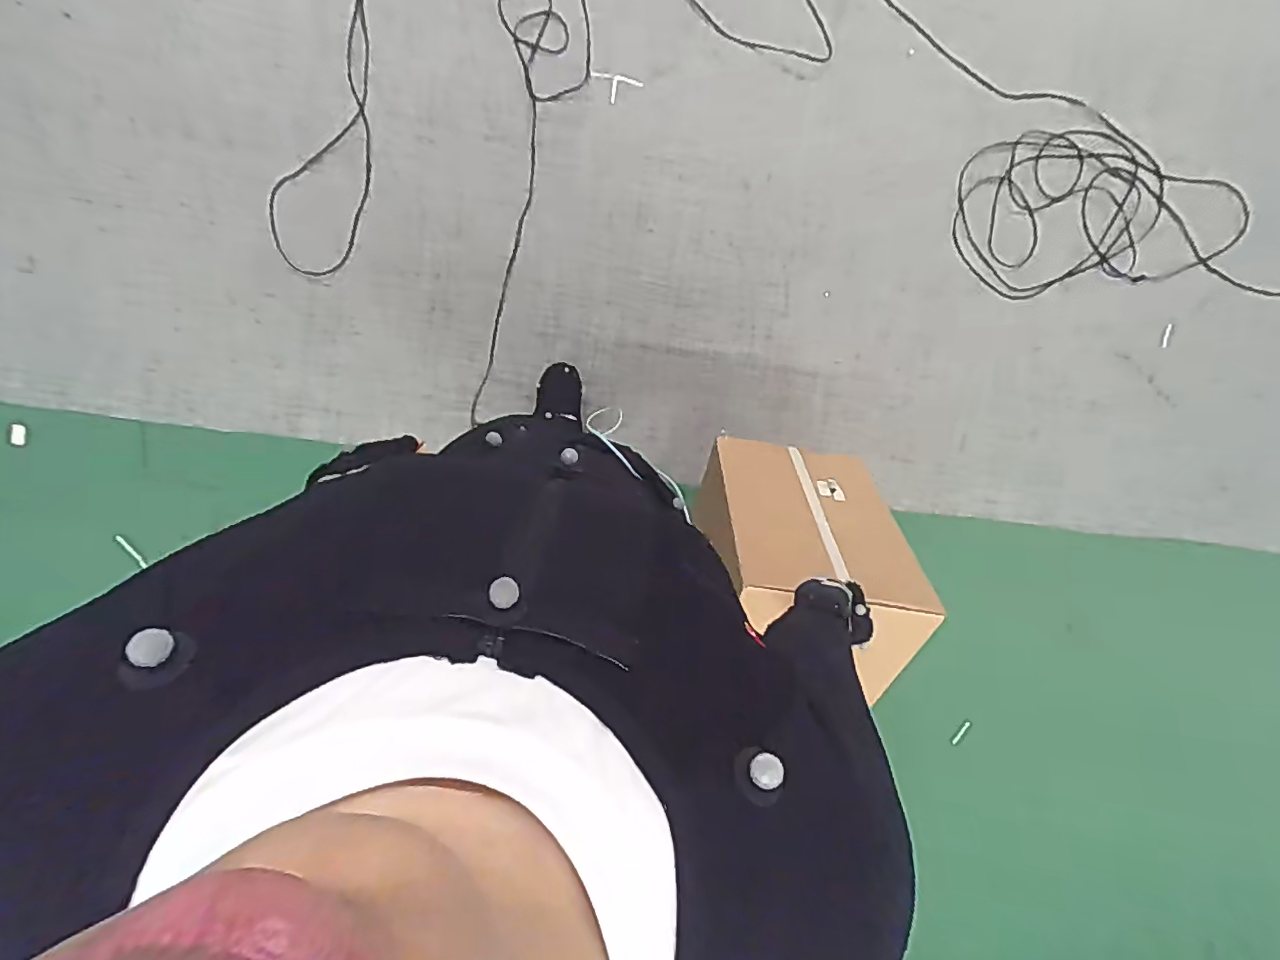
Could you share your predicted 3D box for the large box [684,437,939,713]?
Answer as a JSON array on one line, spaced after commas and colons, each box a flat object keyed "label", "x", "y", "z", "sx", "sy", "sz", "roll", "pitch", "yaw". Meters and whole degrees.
[{"label": "large box", "x": 0.274, "y": 0.172, "z": 1.036, "sx": 0.320, "sy": 0.408, "sz": 0.320, "roll": 10, "pitch": 126, "yaw": -6}]
